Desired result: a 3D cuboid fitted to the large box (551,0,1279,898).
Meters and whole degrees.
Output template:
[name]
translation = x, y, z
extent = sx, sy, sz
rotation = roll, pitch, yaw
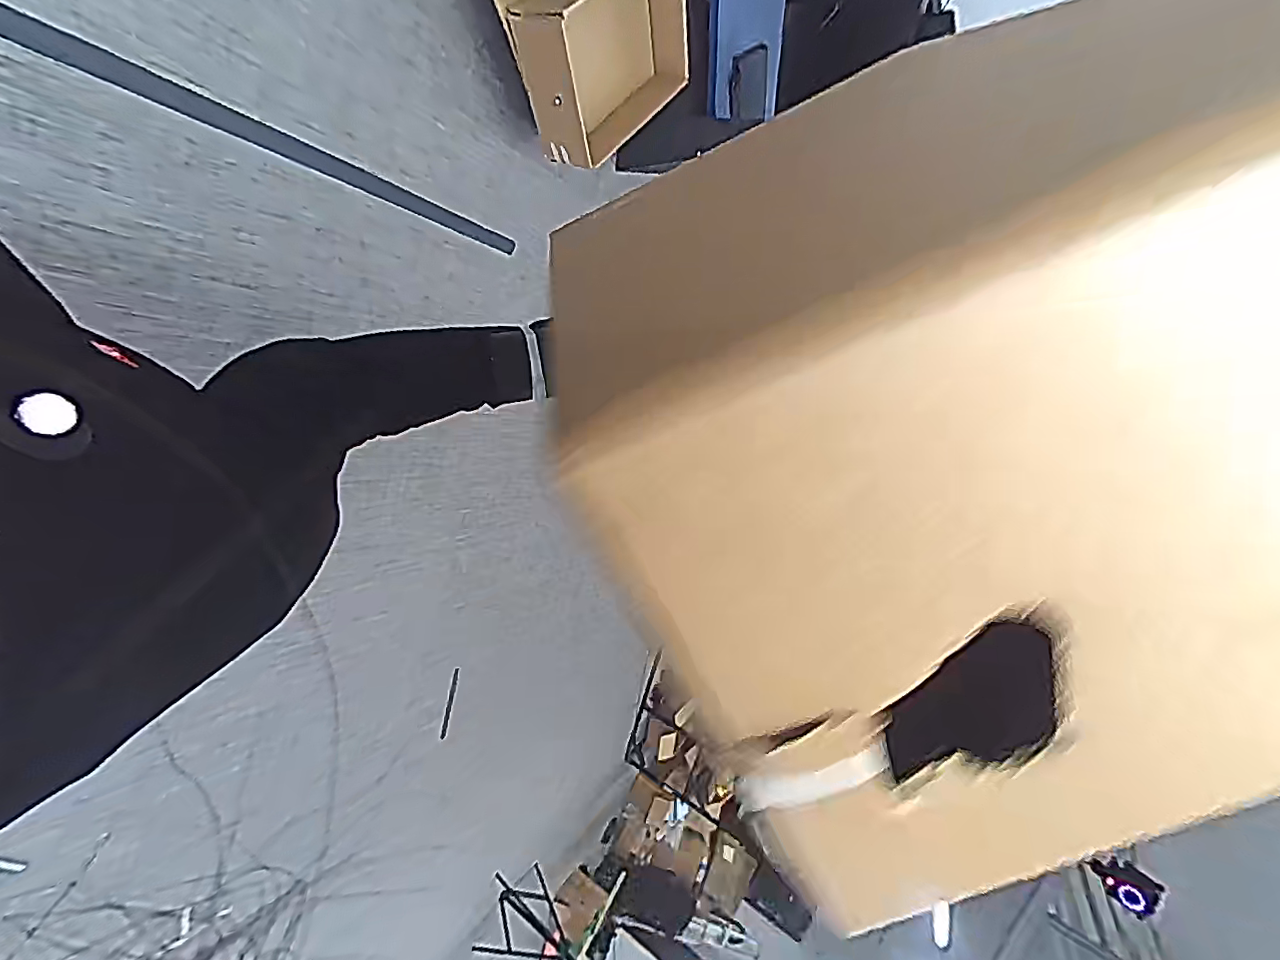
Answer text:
[large box]
translation = 0.149, -0.055, 0.360
extent = 0.320, 0.408, 0.320
rotation = -24, 120, 4
